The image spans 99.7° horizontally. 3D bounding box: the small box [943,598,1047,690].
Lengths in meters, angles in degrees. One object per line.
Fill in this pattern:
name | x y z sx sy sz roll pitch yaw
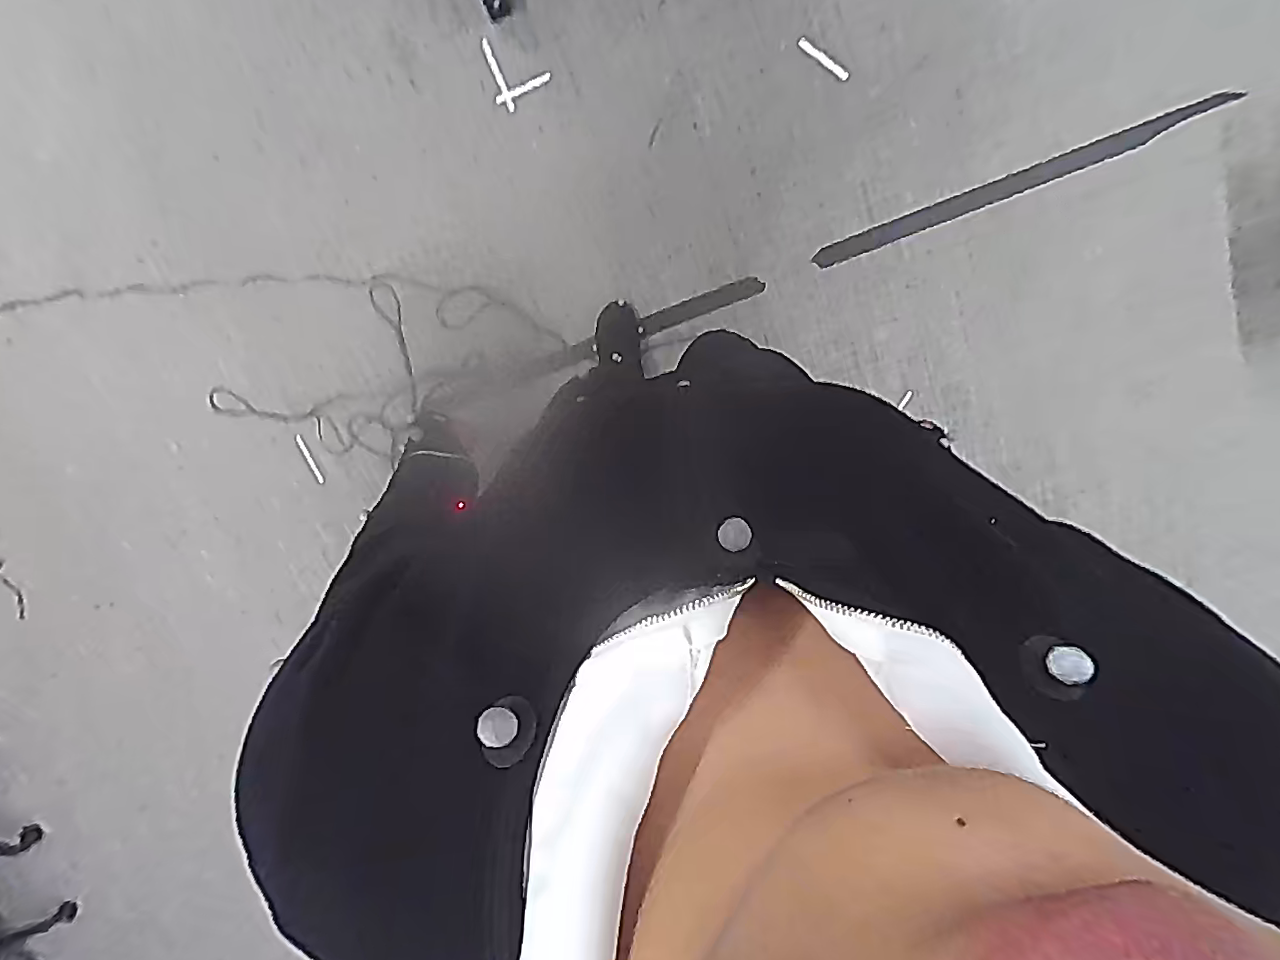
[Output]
small box | 0.997 0.456 1.528 0.179 0.176 0.168 -17 102 5
